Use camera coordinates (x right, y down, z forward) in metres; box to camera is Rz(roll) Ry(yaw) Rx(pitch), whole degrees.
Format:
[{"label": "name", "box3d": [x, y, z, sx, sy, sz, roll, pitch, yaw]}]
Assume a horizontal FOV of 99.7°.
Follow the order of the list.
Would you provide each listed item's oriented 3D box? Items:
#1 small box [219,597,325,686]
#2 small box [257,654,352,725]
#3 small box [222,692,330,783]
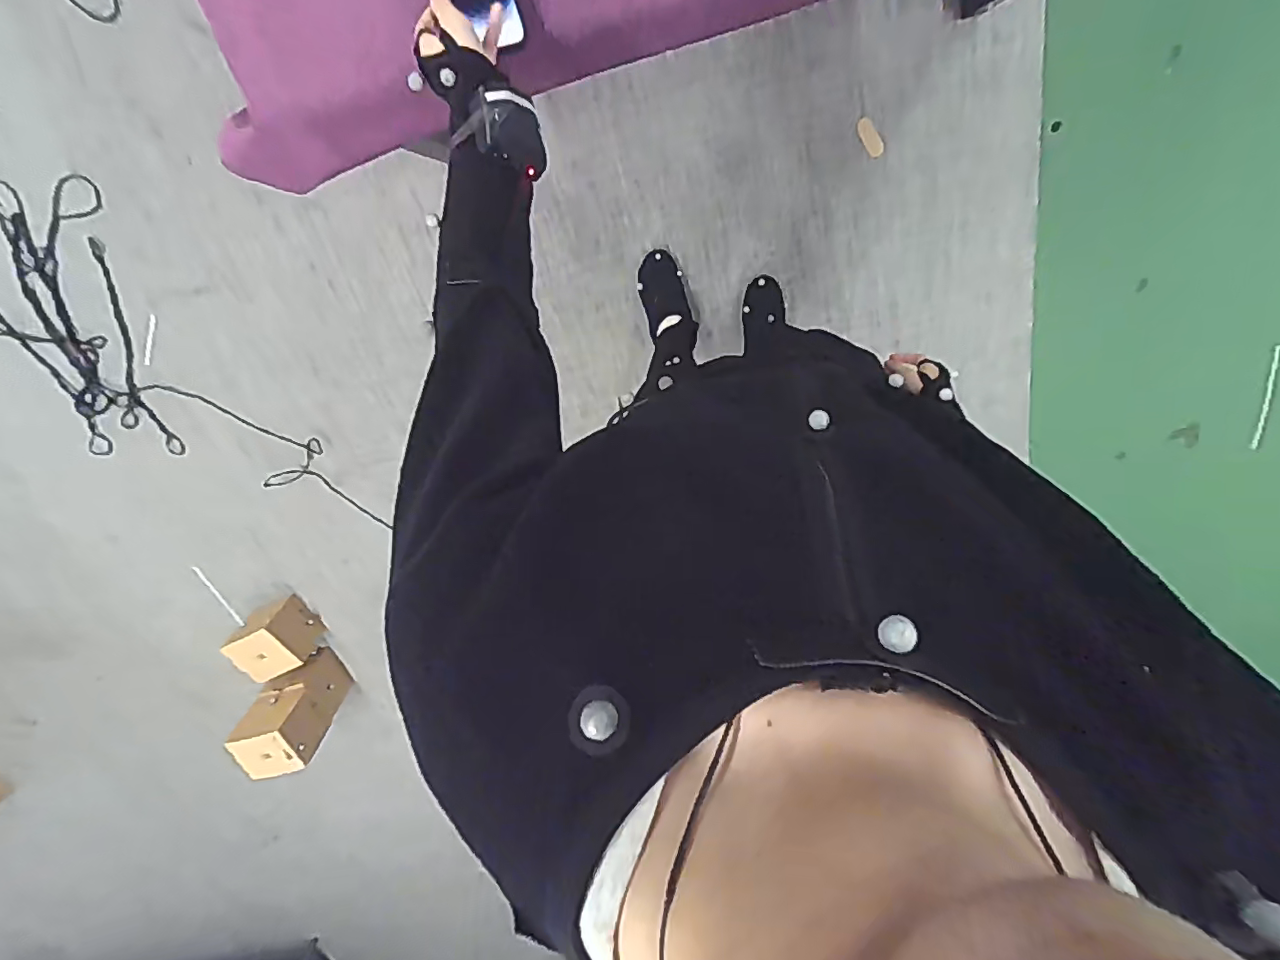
[{"label": "small box", "box3d": [-1.134, 0.499, 1.682, 0.179, 0.176, 0.168, -25, 115, 9]}, {"label": "small box", "box3d": [-1.092, 0.695, 1.774, 0.168, 0.176, 0.179, -15, 115, 6]}, {"label": "small box", "box3d": [-1.085, 0.770, 1.629, 0.179, 0.176, 0.168, -14, 115, 6]}]
